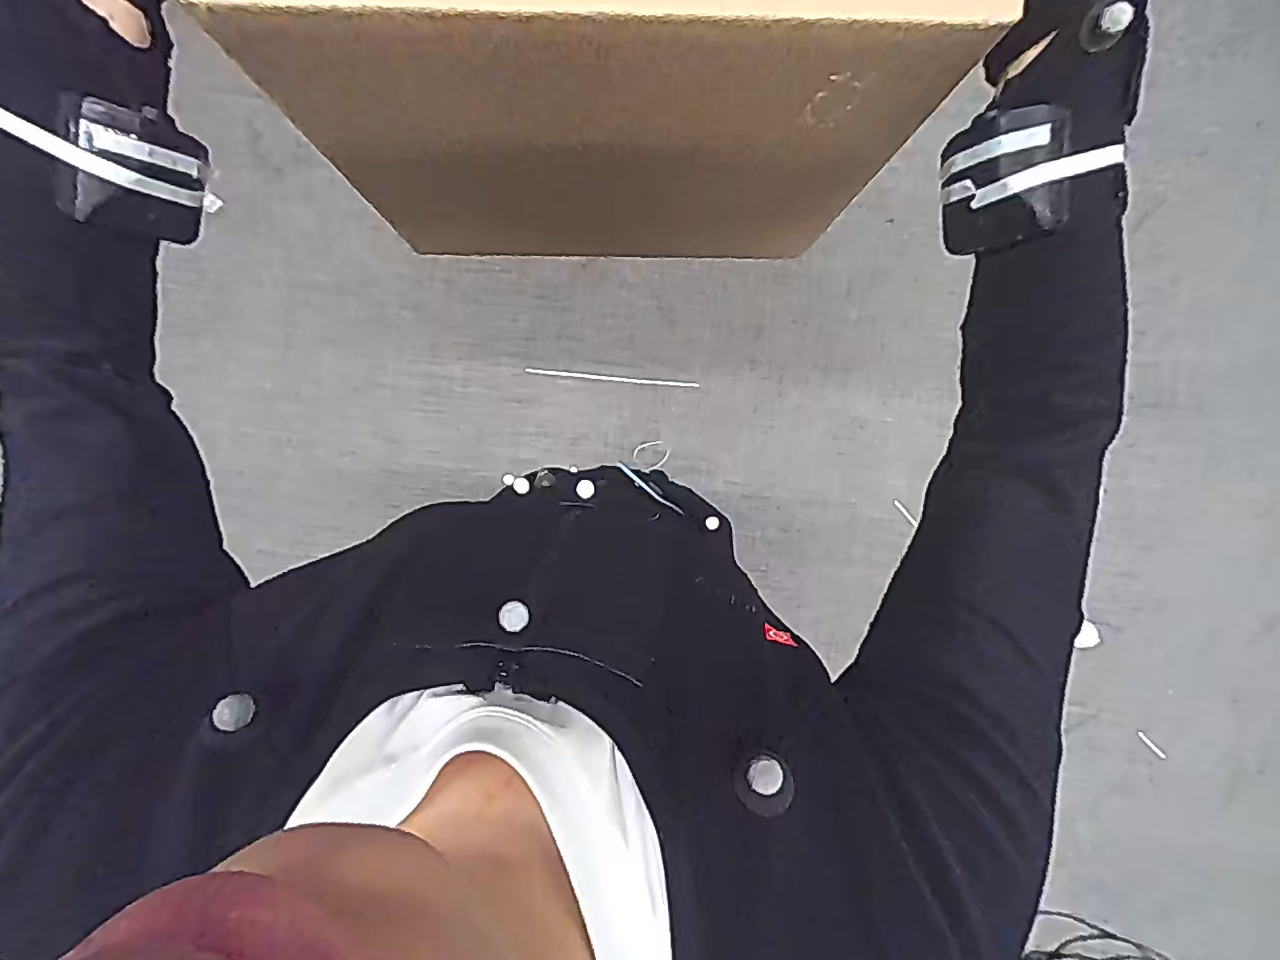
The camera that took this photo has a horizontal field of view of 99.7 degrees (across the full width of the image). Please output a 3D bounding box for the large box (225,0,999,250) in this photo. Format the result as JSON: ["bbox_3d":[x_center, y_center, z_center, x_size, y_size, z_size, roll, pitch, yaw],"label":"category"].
[{"bbox_3d":[-0.024,-0.390,0.414,0.408,0.320,0.320,-1,92,-4],"label":"large box"}]
